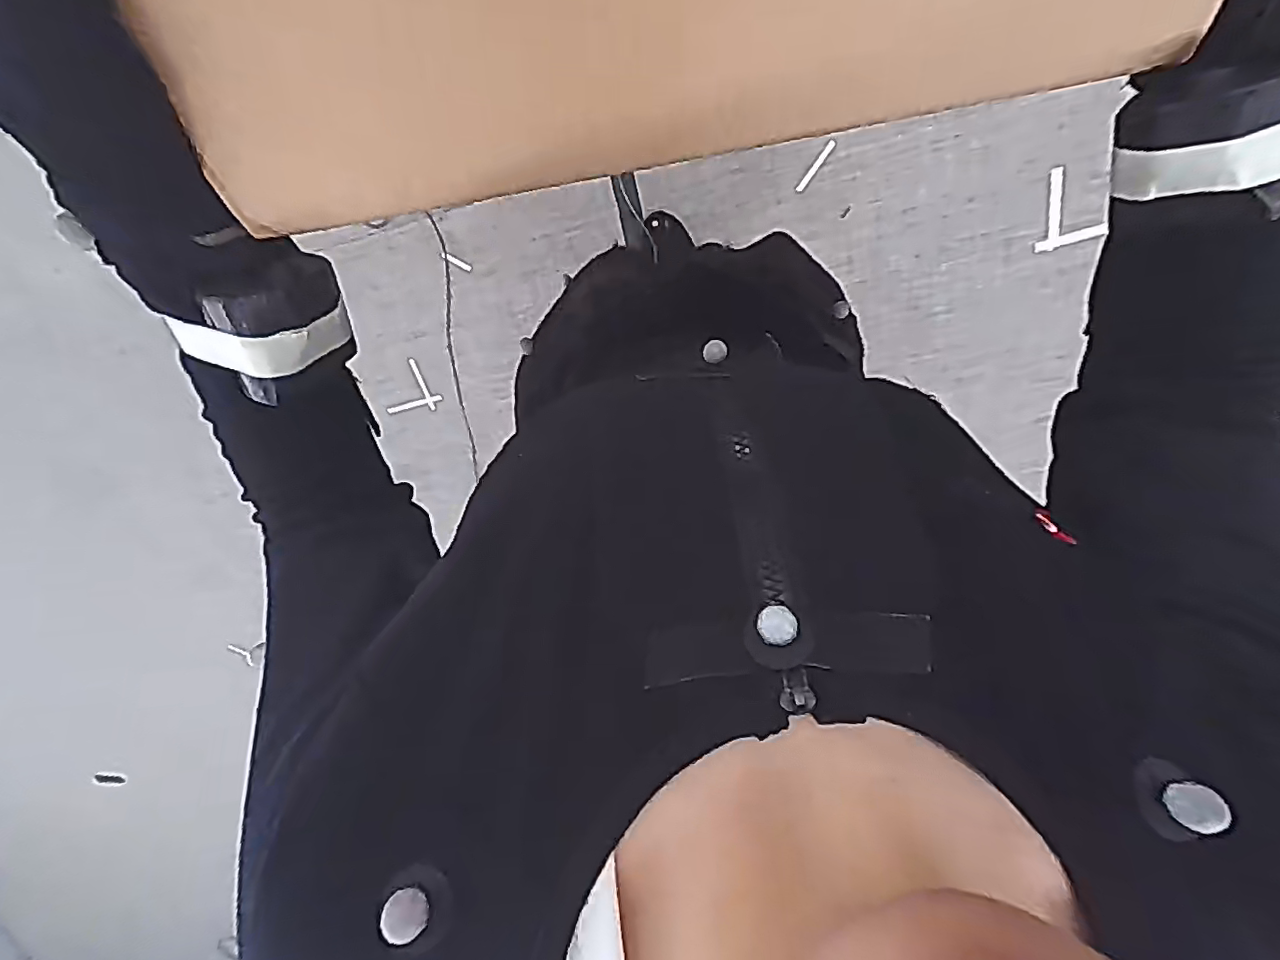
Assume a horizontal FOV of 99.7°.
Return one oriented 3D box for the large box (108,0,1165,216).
[{"bbox_3d":[-0.014,-0.363,0.217,0.408,0.320,0.320,-9,139,3],"label":"large box"}]
